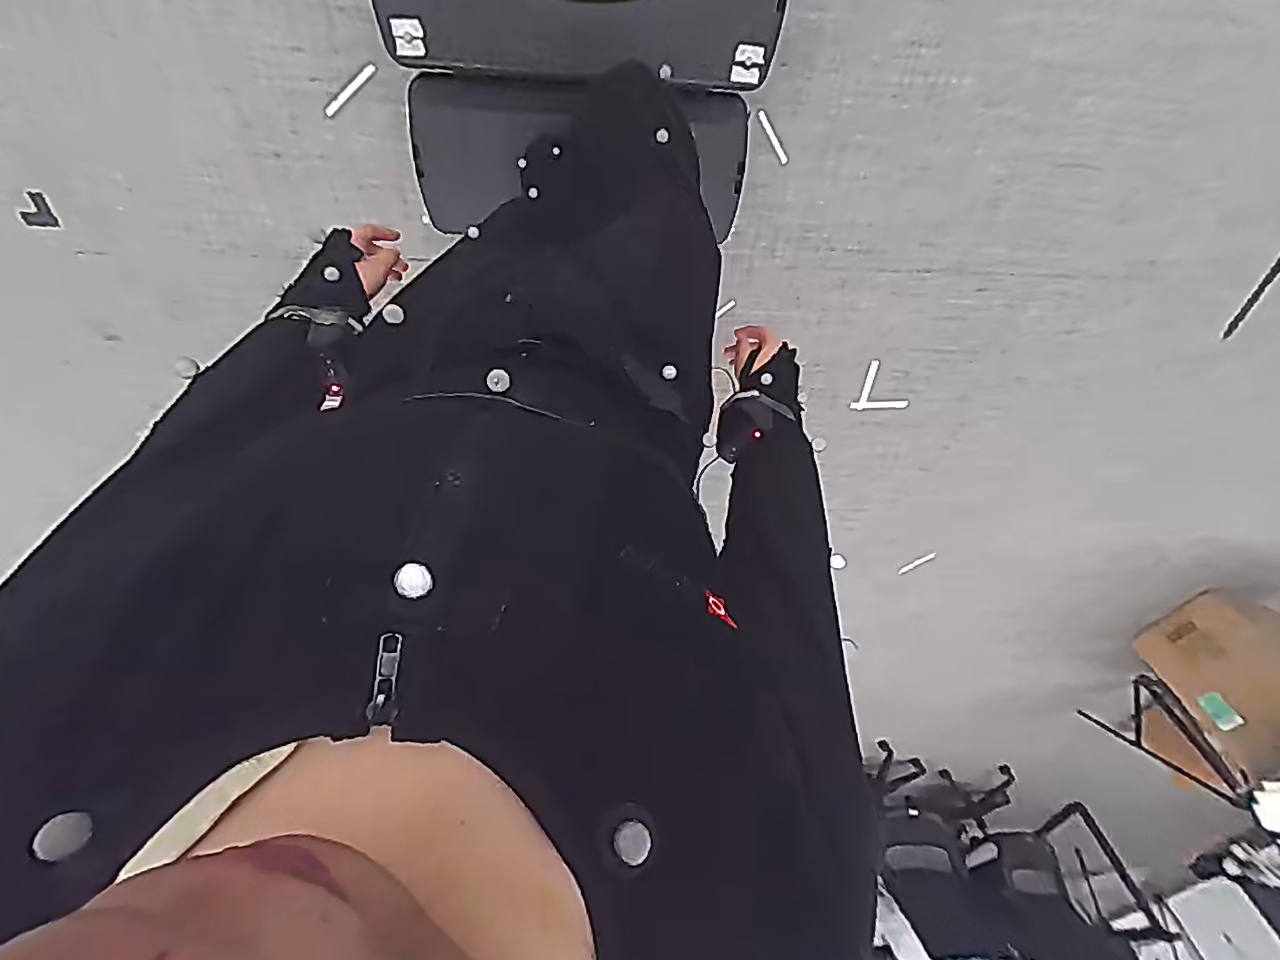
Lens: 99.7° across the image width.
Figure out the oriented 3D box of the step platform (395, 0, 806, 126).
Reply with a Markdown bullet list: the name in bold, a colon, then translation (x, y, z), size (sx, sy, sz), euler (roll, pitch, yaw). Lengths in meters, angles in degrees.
- **step platform**: translation (-0.063, -0.825, 0.931), size (0.684, 0.204, 0.286), euler (3, 127, -8)
